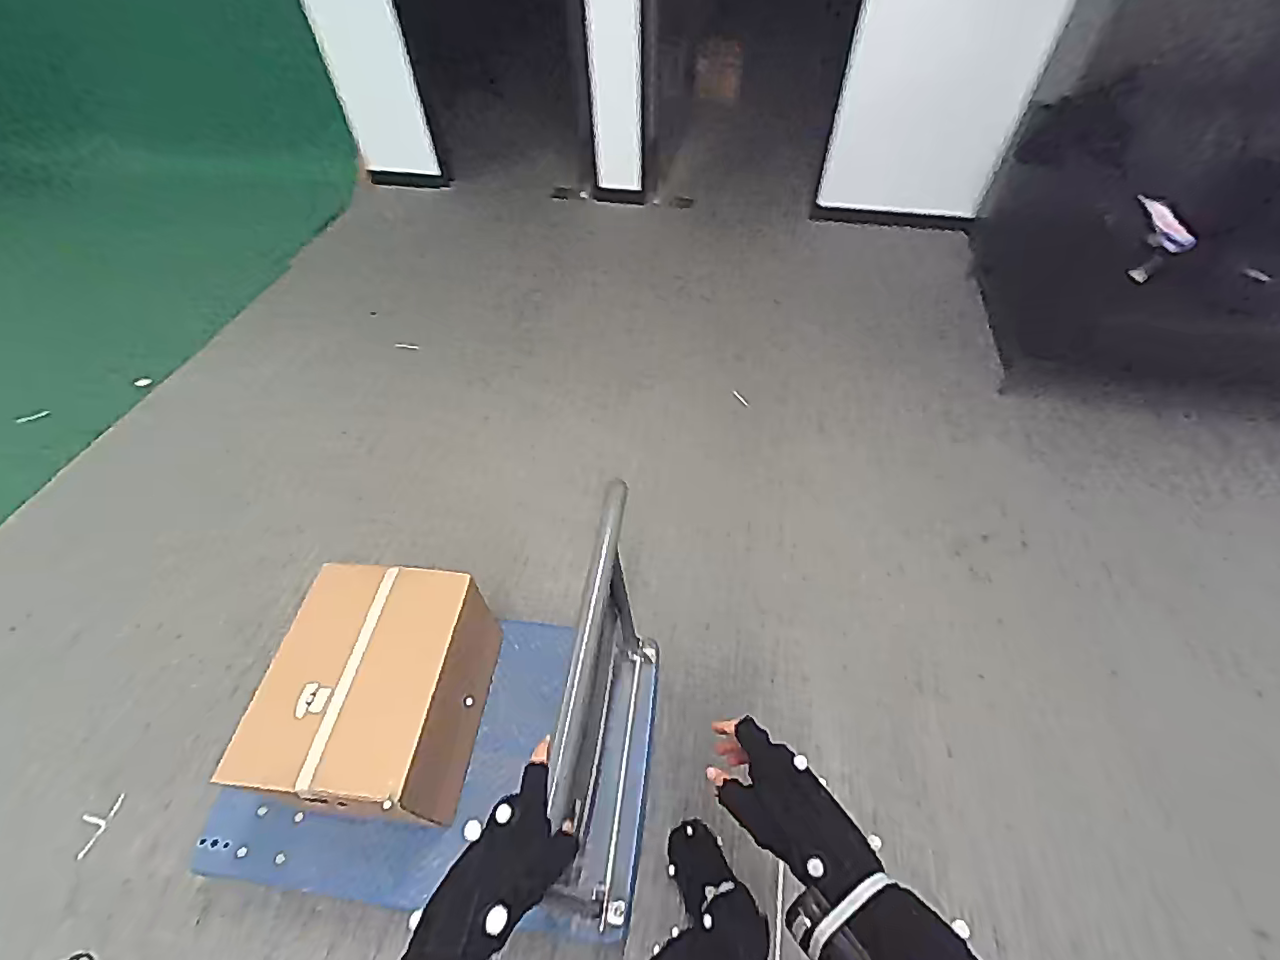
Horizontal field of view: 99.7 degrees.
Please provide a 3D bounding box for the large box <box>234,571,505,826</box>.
[{"bbox_3d":[-0.490,0.439,1.097,0.320,0.320,0.408,3,52,4],"label":"large box"}]
